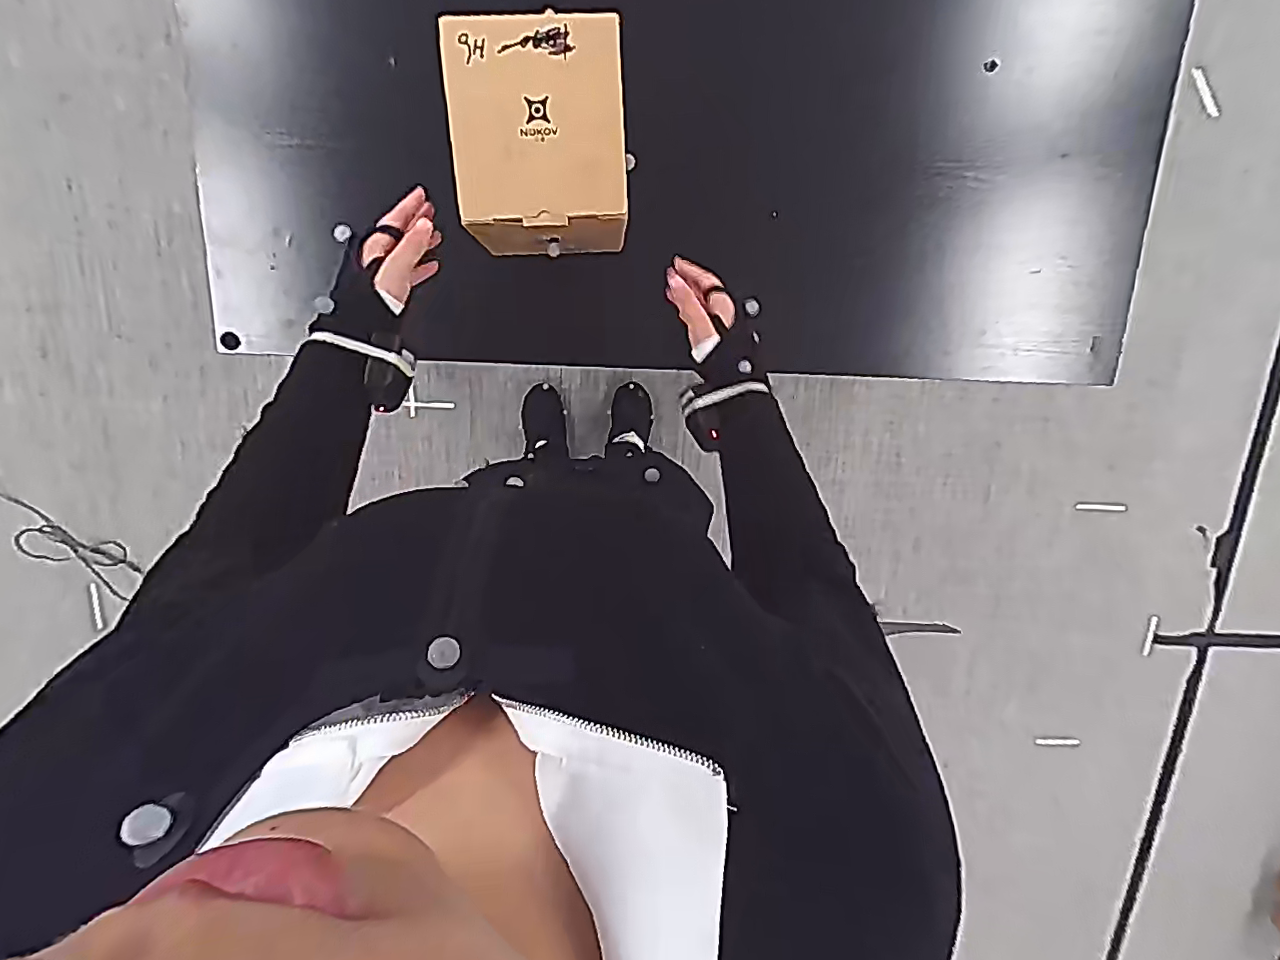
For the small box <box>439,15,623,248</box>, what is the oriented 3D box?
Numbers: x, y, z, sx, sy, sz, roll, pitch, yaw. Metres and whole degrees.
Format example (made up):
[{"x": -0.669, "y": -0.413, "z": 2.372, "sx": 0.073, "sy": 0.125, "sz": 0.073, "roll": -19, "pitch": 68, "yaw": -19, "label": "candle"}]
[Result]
[{"x": -0.104, "y": -0.359, "z": 0.593, "sx": 0.168, "sy": 0.176, "sz": 0.179, "roll": -3, "pitch": 103, "yaw": -2, "label": "small box"}]
